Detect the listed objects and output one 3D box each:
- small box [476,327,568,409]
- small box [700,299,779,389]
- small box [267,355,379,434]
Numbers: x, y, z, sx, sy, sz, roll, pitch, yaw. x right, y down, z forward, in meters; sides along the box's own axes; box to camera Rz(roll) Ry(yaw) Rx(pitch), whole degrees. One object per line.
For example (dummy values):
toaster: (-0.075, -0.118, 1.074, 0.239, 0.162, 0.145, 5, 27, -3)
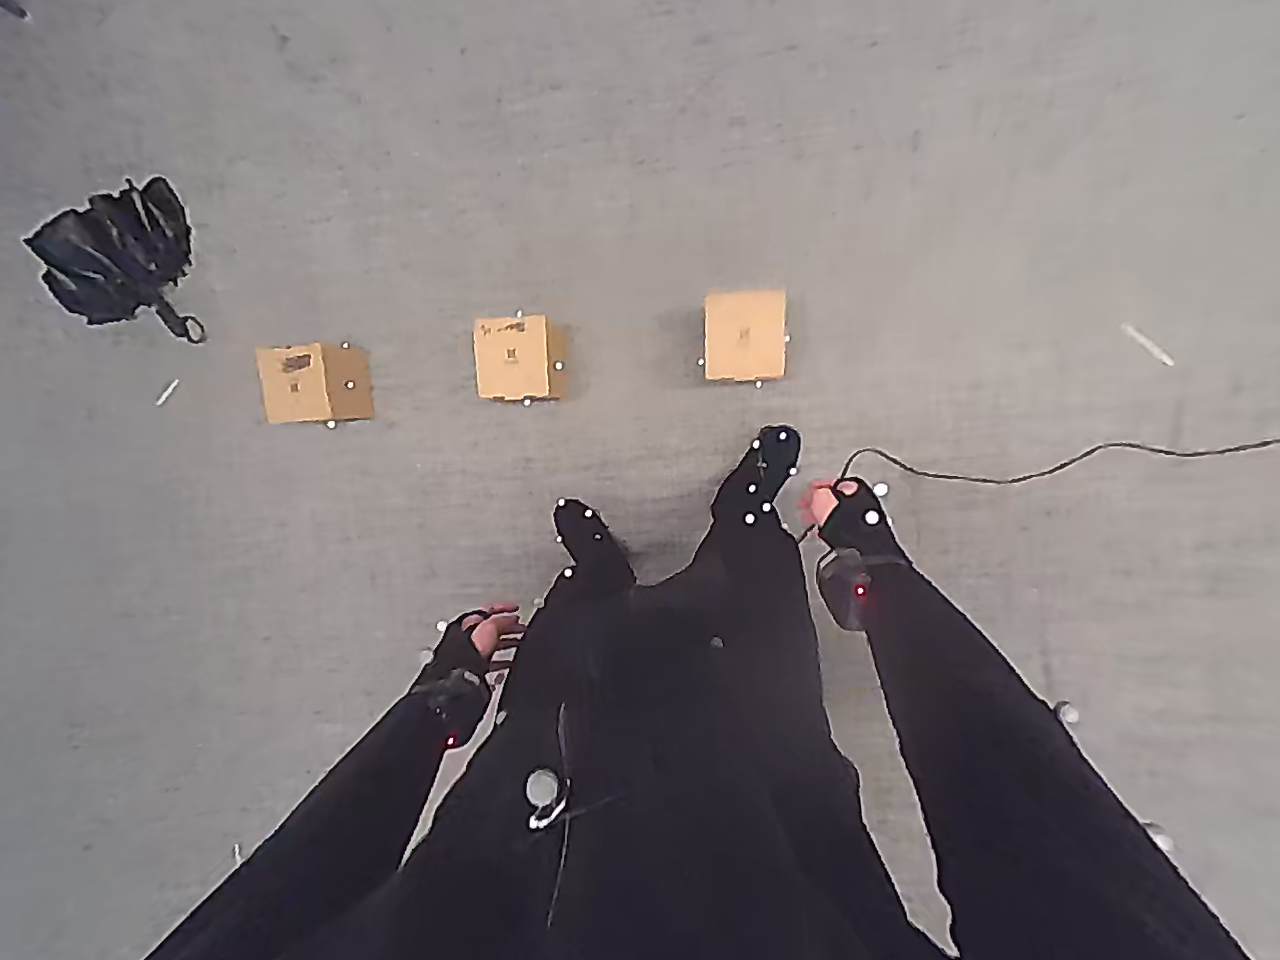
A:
small box: (-0.273, -0.261, 1.287, 0.168, 0.176, 0.179, -1, 98, 8)
small box: (0.221, -0.296, 1.217, 0.168, 0.176, 0.179, -2, 96, 7)
small box: (-0.789, -0.211, 1.359, 0.168, 0.176, 0.179, -4, 98, 8)
